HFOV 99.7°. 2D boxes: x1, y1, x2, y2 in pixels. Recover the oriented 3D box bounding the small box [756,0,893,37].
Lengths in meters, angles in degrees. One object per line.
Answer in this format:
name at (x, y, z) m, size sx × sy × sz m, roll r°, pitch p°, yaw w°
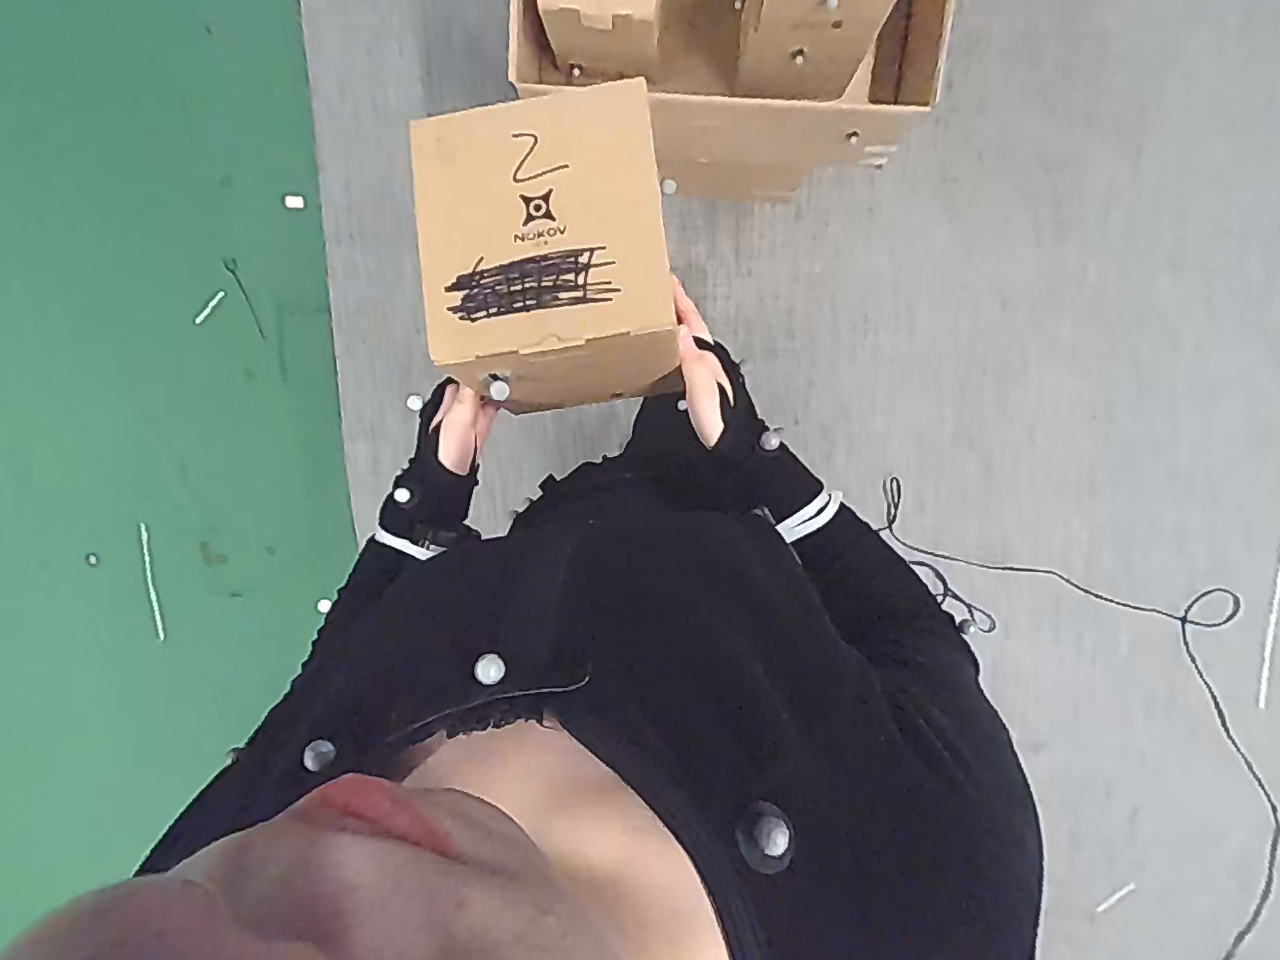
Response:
small box at (0.233, -0.663, 0.636) m, size 0.168 × 0.176 × 0.179 m, roll 2°, pitch 100°, yaw 3°
